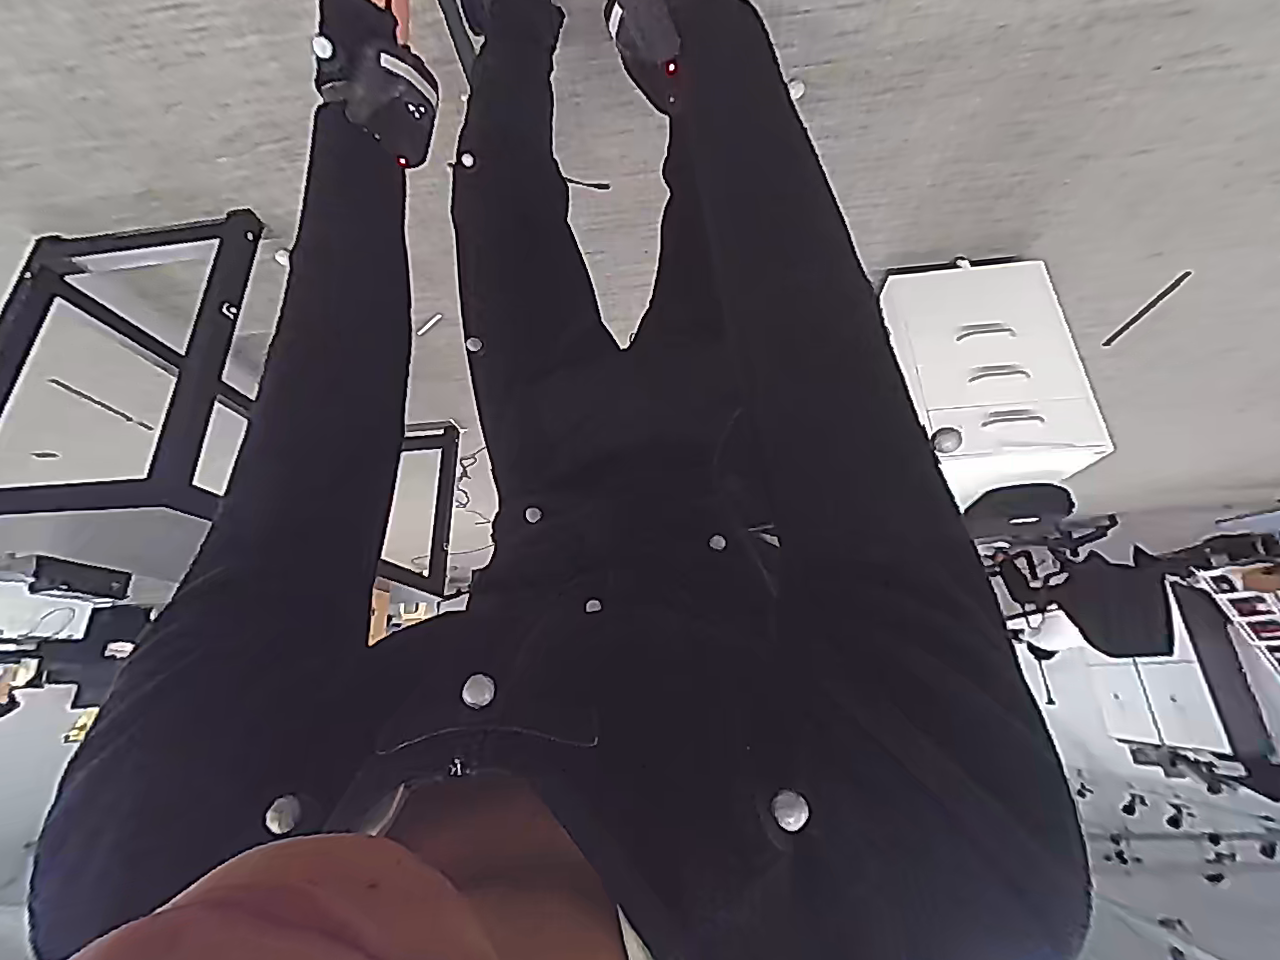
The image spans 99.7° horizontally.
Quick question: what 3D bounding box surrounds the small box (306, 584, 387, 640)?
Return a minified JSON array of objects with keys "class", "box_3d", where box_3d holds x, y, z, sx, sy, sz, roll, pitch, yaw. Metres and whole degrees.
[{"class":"small box","box_3d":[-0.969,0.445,1.803,0.179,0.176,0.168,-5,159,7]}]
